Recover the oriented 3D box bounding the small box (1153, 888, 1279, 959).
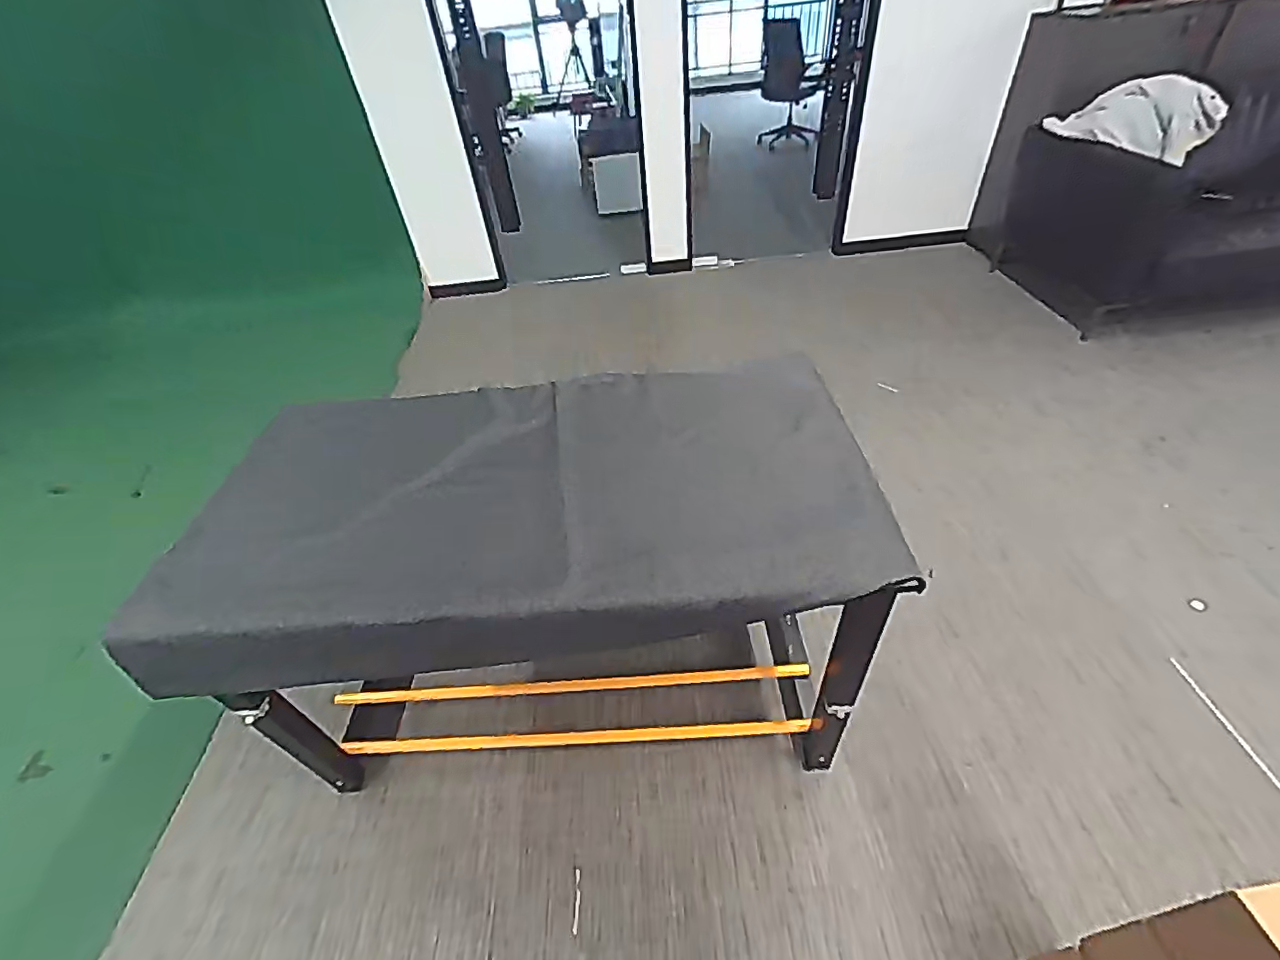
[{"bbox_3d":[0.694,0.526,0.538,0.168,0.176,0.179,-7,42,-2],"label":"small box"}]

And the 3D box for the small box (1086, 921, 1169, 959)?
[{"bbox_3d":[0.705,0.645,0.649,0.168,0.176,0.179,-7,43,-2],"label":"small box"}]
